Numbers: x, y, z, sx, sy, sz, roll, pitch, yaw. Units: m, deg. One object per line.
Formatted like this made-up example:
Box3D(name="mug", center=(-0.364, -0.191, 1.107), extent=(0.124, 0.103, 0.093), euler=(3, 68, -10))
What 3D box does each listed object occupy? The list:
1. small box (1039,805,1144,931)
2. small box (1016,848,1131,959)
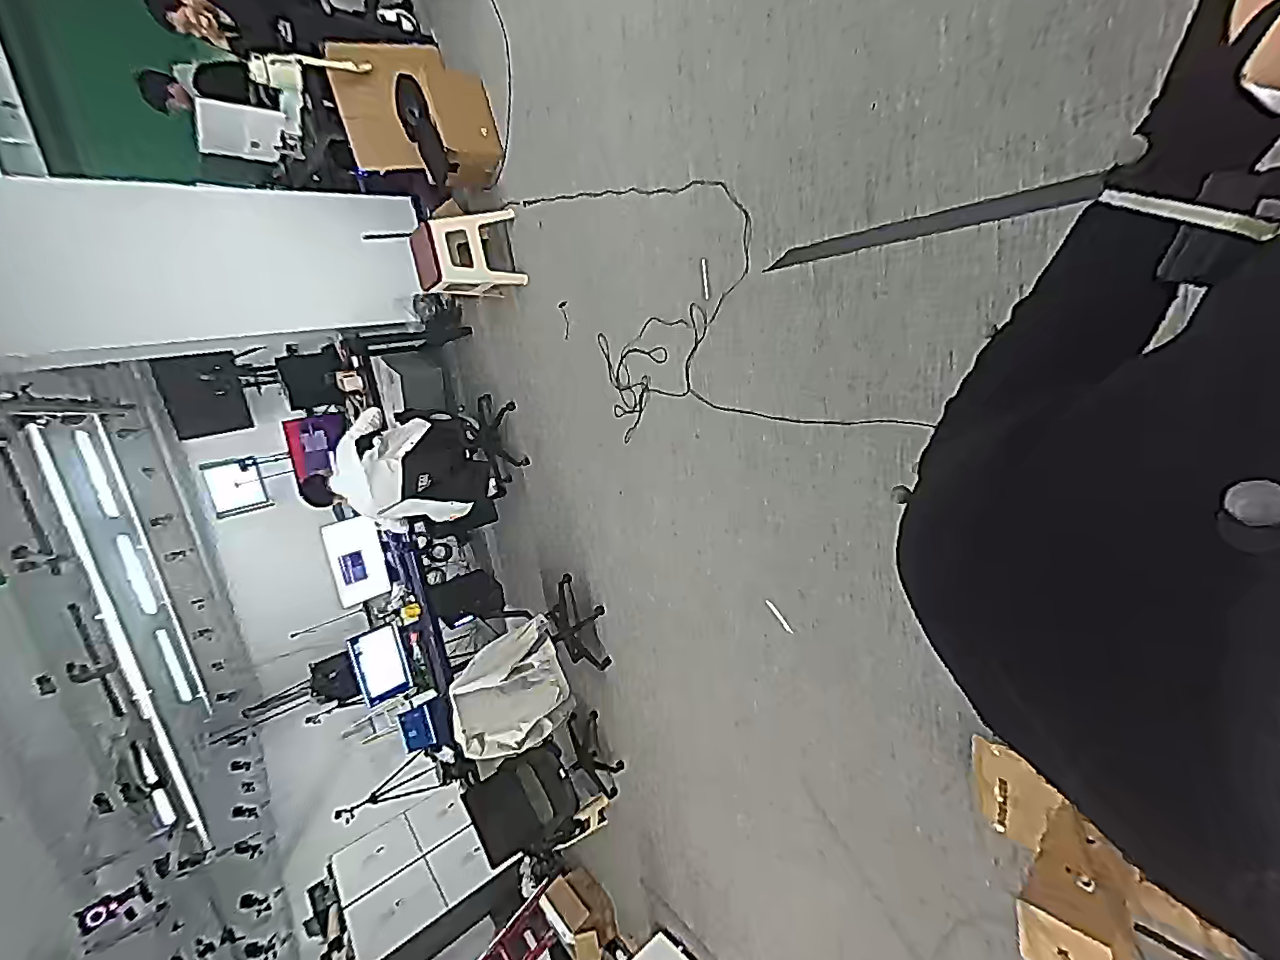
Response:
Box3D(name="small box", center=(1.082, 0.933, 1.298), extent=(0.168, 0.176, 0.179), euler=(6, 110, 52))
Box3D(name="small box", center=(0.962, 0.979, 1.197), extent=(0.168, 0.176, 0.179), euler=(2, 107, 52))
